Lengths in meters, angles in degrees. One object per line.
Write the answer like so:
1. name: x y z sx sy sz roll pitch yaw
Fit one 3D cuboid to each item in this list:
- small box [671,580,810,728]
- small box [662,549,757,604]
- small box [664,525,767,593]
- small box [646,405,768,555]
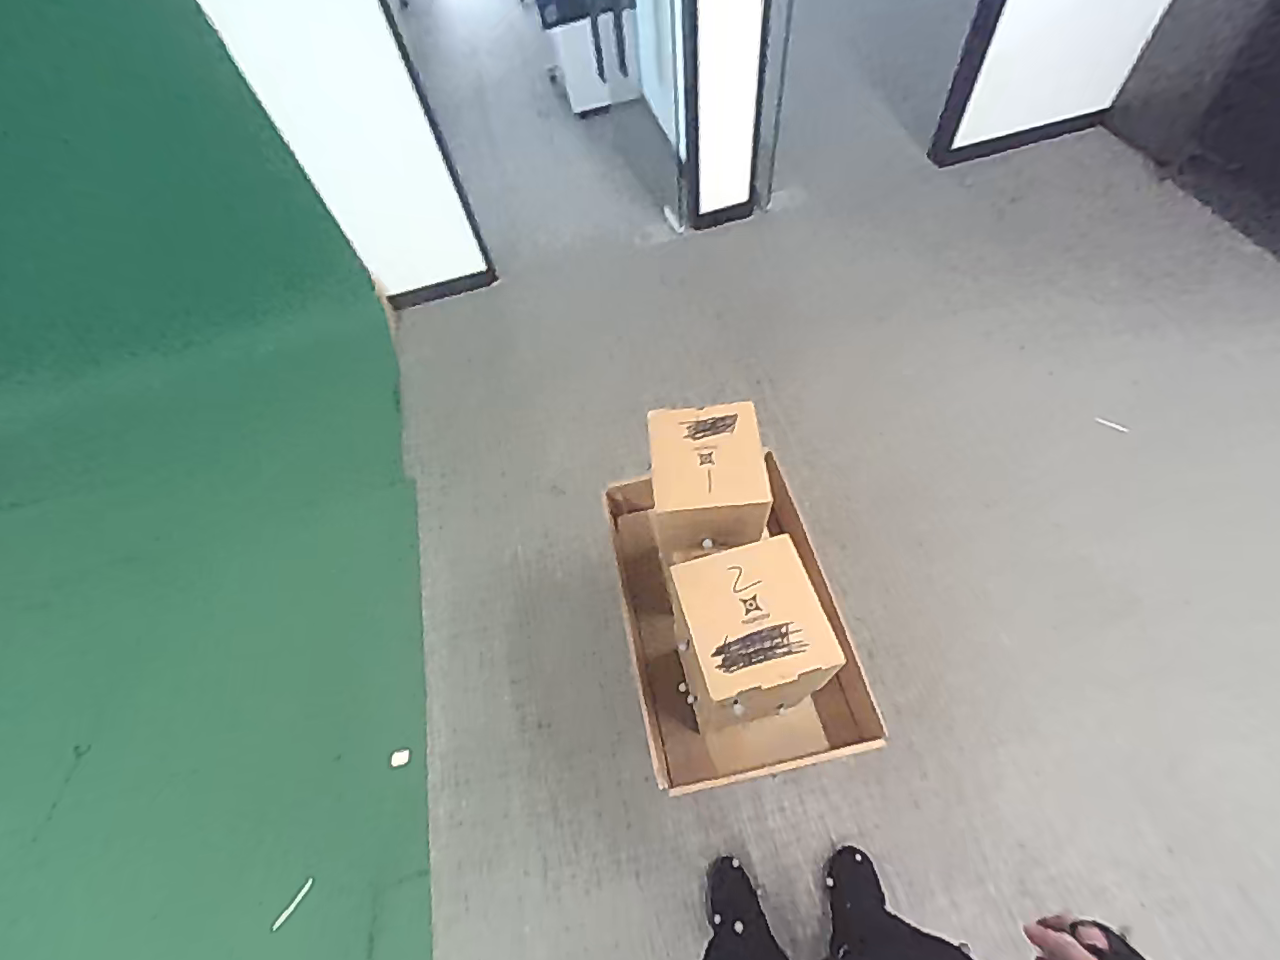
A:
1. small box: 0.155 0.289 0.874 0.168 0.176 0.179 -15 58 -3
2. small box: 0.137 0.166 1.144 0.168 0.176 0.179 -14 60 -1
3. small box: 0.121 0.088 1.003 0.168 0.176 0.179 -14 61 -2
4. small box: 0.100 0.004 0.864 0.168 0.176 0.179 -6 61 3
